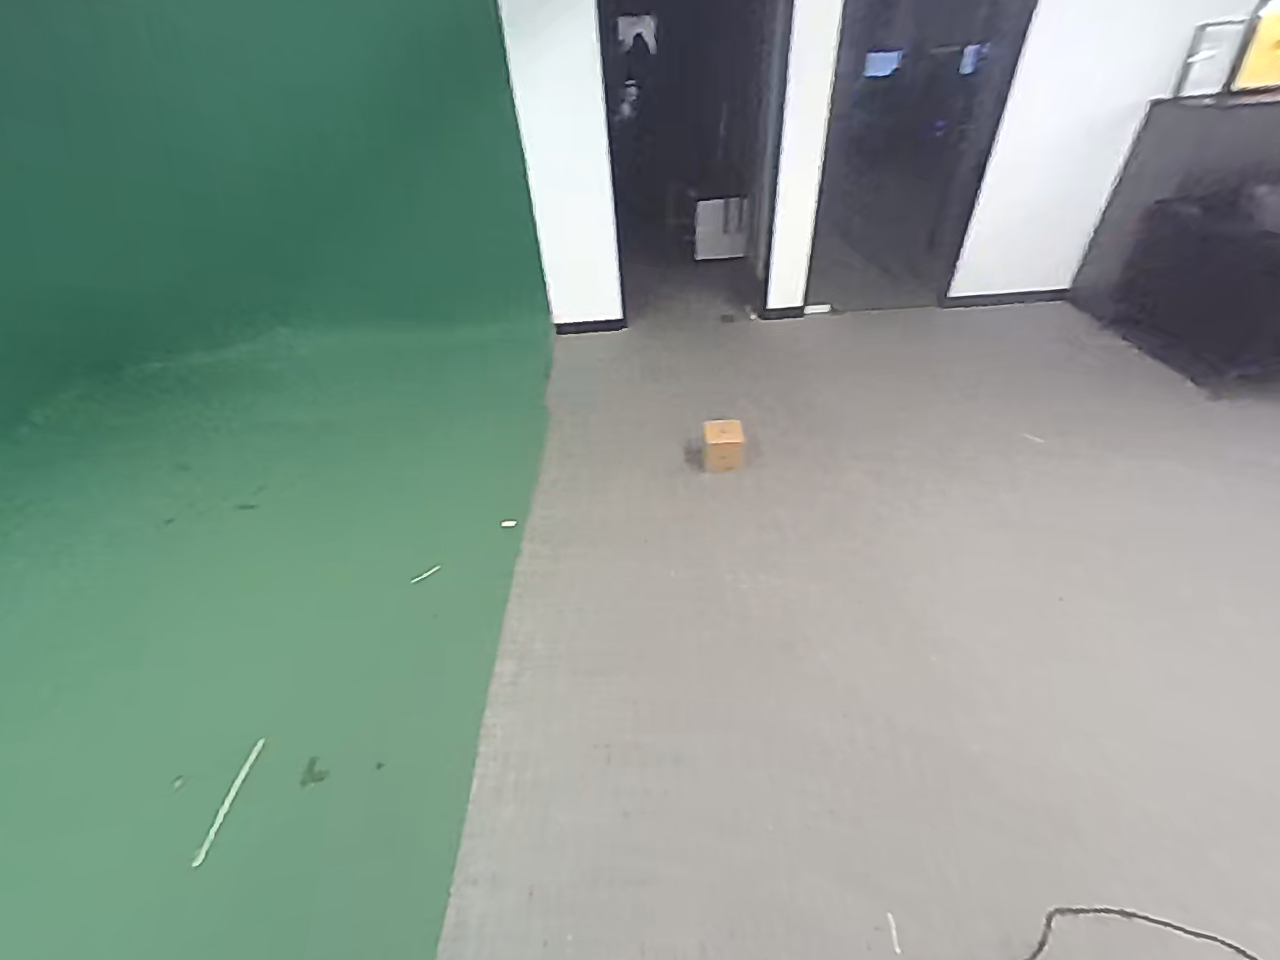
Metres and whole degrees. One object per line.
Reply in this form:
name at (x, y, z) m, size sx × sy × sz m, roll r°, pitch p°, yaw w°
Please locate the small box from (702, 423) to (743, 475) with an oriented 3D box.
small box at (0.367, -0.135, 2.428) m, size 0.168 × 0.176 × 0.179 m, roll -2°, pitch 40°, yaw 2°
